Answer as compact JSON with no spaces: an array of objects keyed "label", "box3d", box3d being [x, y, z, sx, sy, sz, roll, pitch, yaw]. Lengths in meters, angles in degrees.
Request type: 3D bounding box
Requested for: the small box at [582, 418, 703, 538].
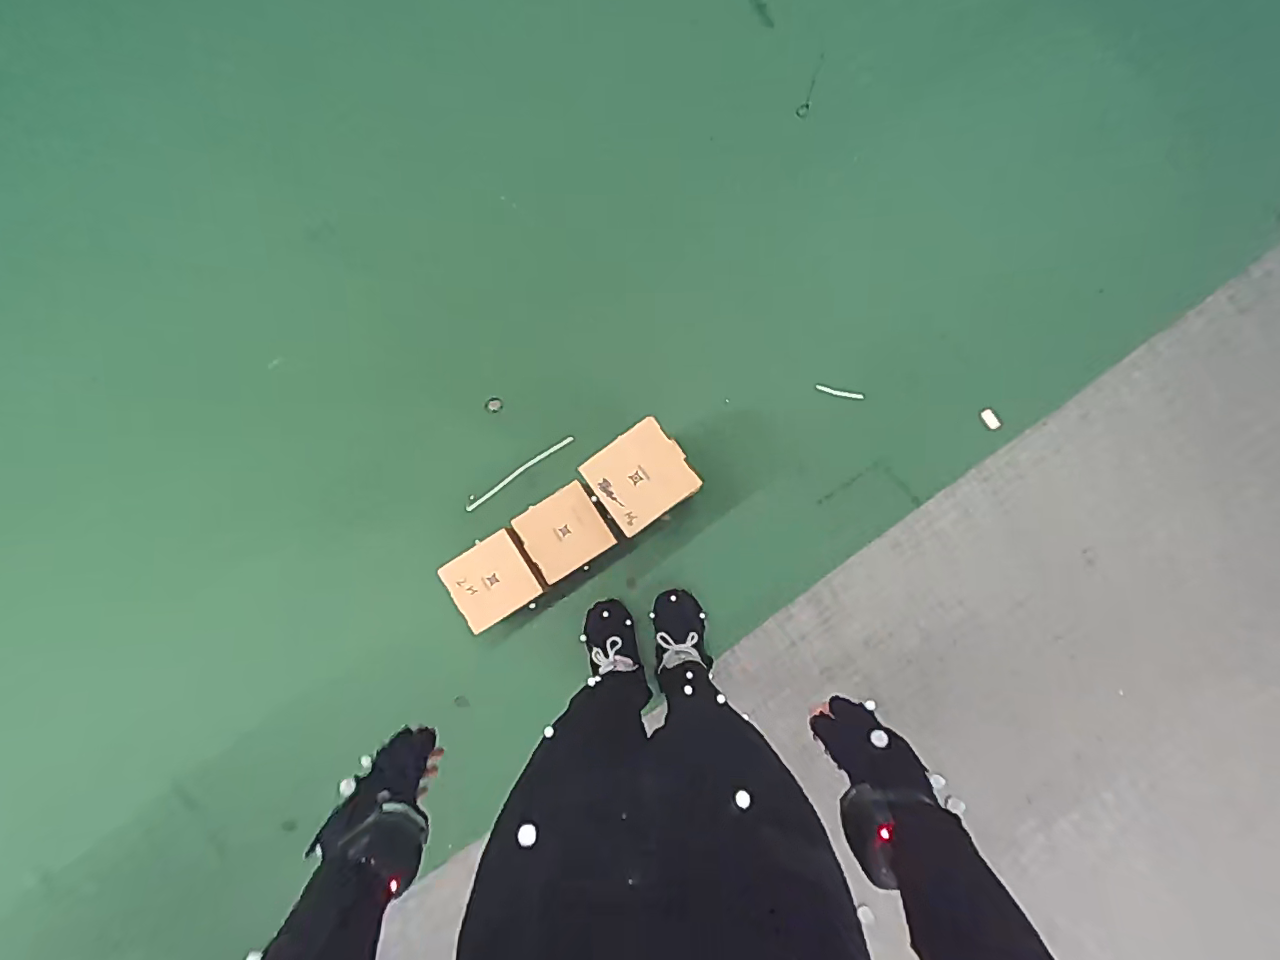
[{"label":"small box","box3d":[0.004,0.001,1.094,0.179,0.176,0.168,-36,86,-3]}]
